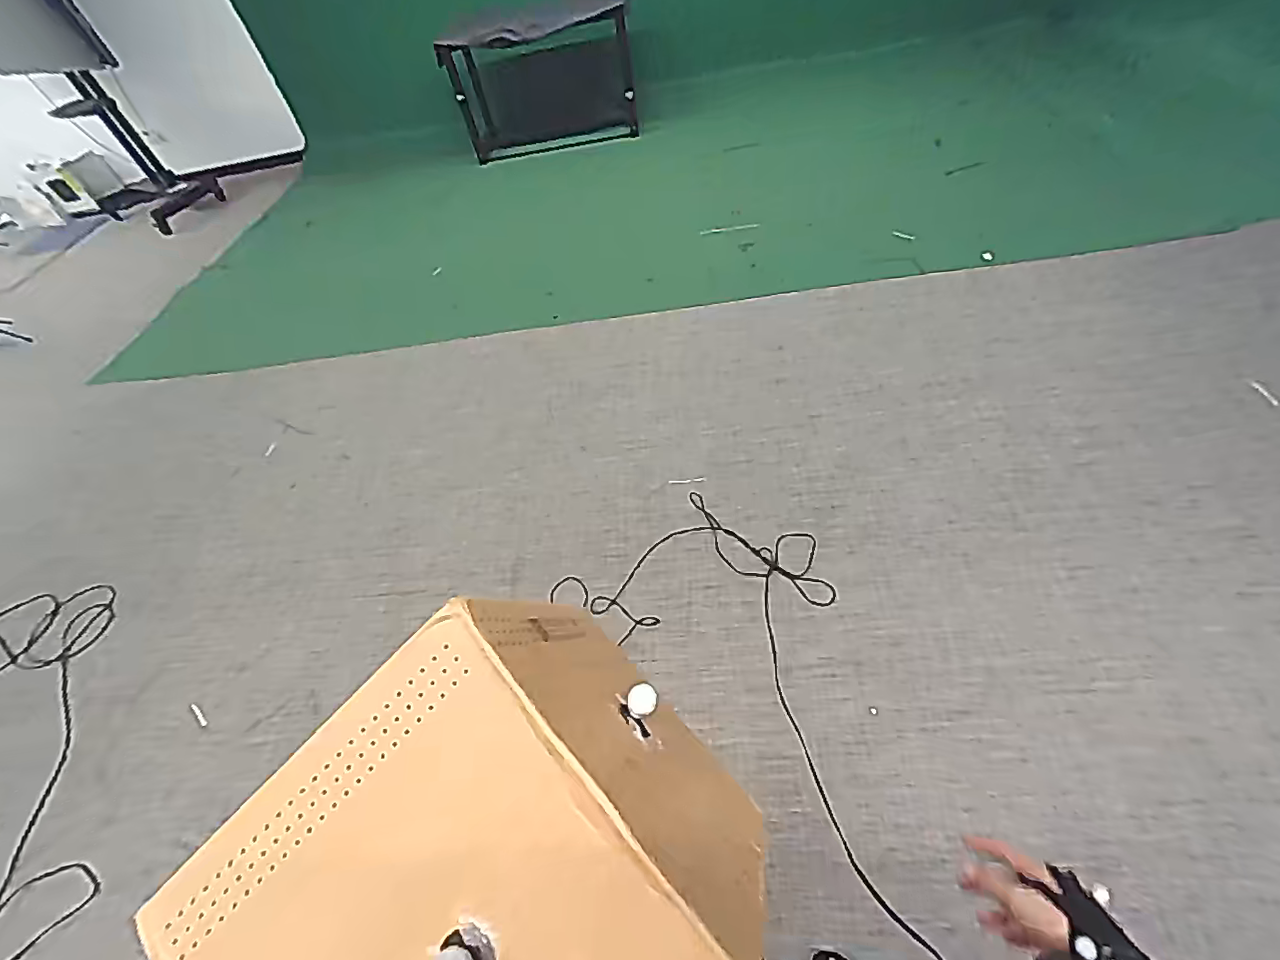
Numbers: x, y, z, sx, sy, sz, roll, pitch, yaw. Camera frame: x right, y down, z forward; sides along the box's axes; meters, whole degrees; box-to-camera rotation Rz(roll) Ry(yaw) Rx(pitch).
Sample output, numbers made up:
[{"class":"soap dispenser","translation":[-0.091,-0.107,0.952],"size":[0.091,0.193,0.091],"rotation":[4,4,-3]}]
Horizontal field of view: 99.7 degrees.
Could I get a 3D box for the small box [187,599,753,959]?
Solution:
[{"class":"small box","translation":[-0.065,0.178,0.271],"size":[0.179,0.168,0.176],"rotation":[-46,72,-2]}]
